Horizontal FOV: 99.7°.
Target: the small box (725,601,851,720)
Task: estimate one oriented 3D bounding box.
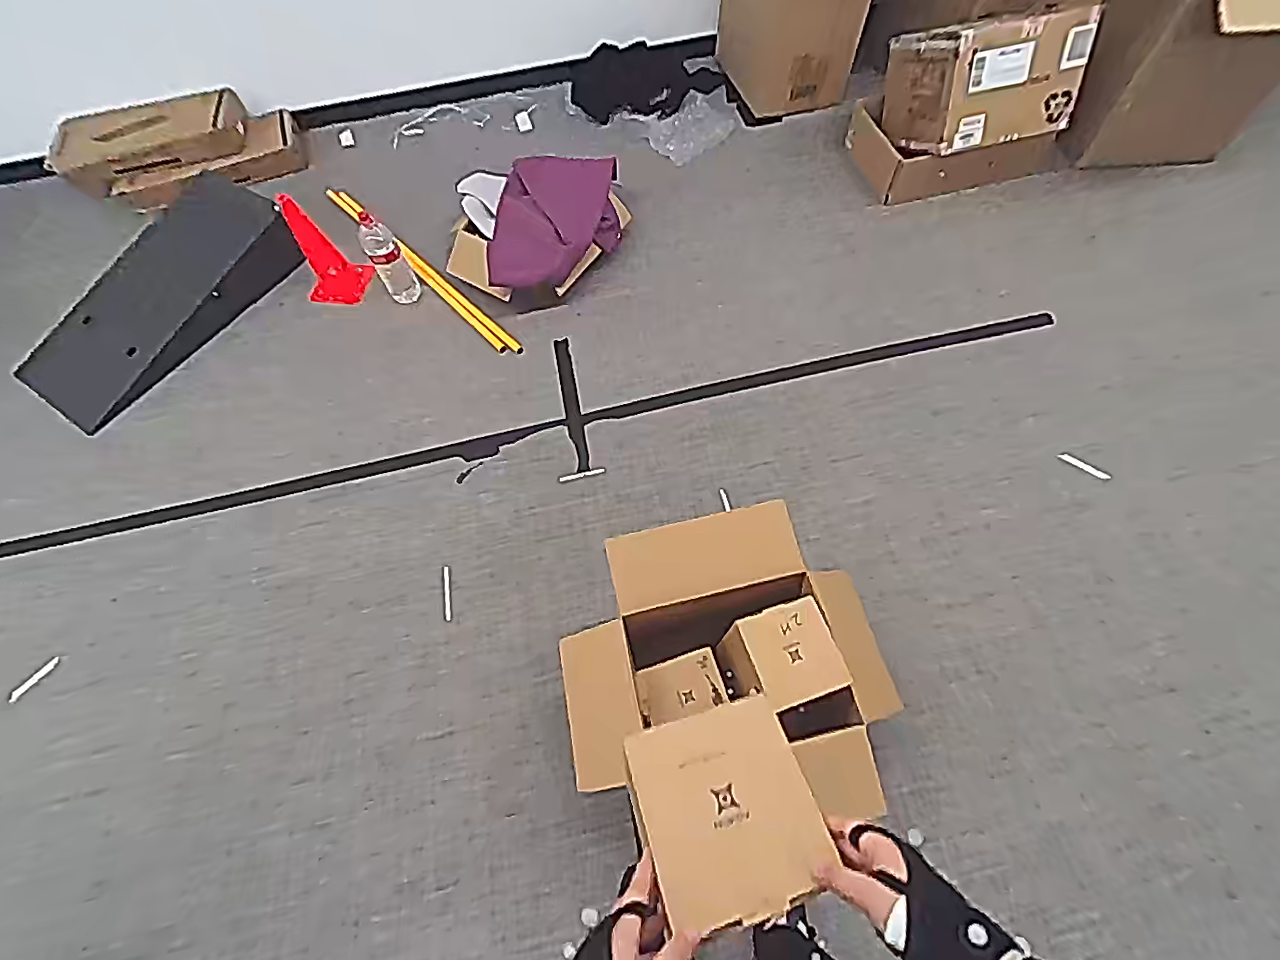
[{"bbox_3d":[0.284,0.367,1.079,0.168,0.176,0.179,-16,63,-9],"label":"small box"}]

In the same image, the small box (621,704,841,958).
[{"bbox_3d":[0.082,0.377,0.580,0.168,0.176,0.179,-12,46,-11],"label":"small box"}]
